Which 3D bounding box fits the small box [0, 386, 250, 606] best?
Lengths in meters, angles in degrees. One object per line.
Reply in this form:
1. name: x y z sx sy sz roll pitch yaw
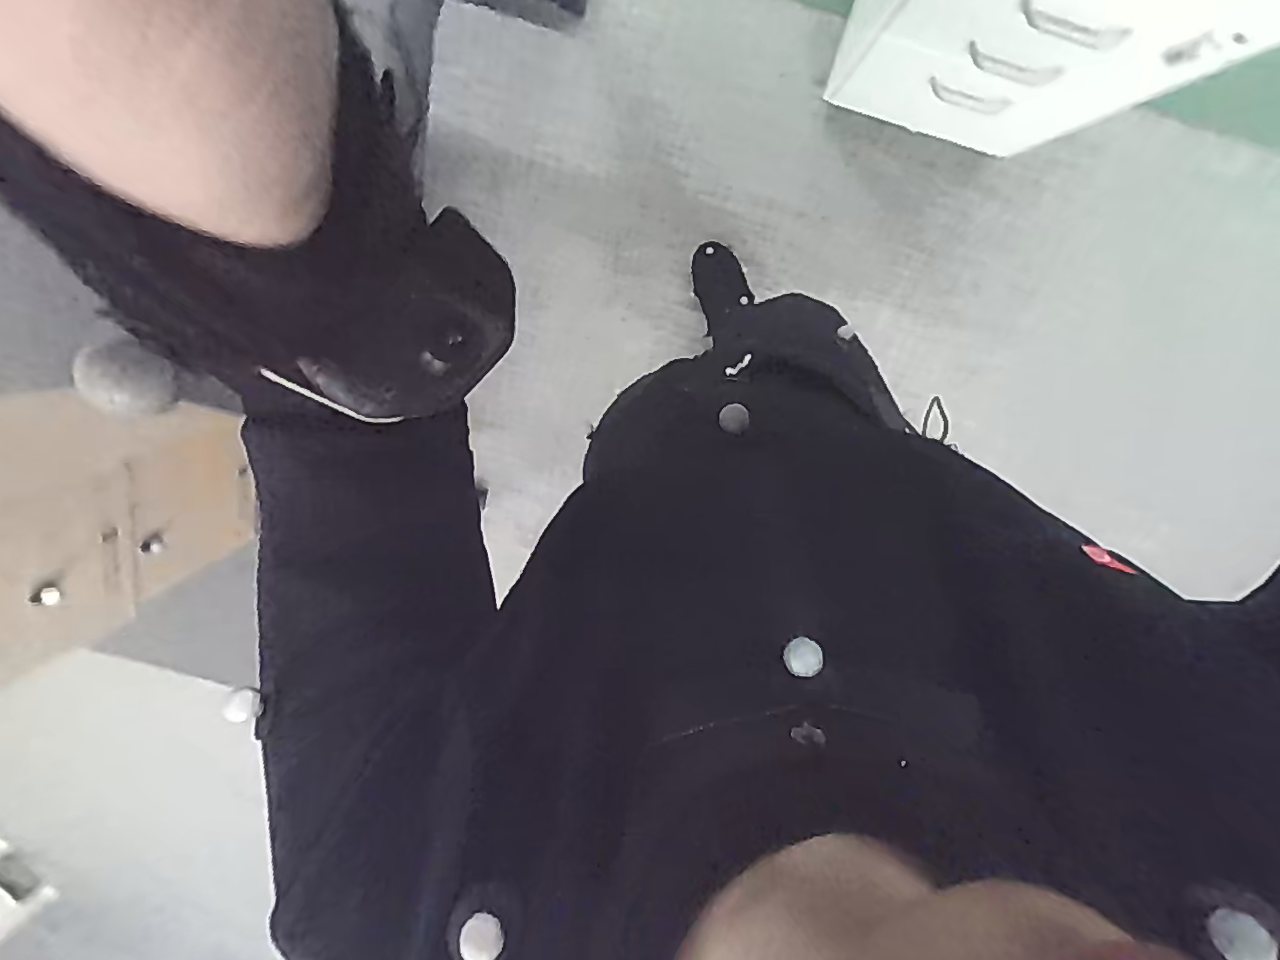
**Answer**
1. small box: -0.569 0.004 0.582 0.179 0.176 0.168 15 109 -1
